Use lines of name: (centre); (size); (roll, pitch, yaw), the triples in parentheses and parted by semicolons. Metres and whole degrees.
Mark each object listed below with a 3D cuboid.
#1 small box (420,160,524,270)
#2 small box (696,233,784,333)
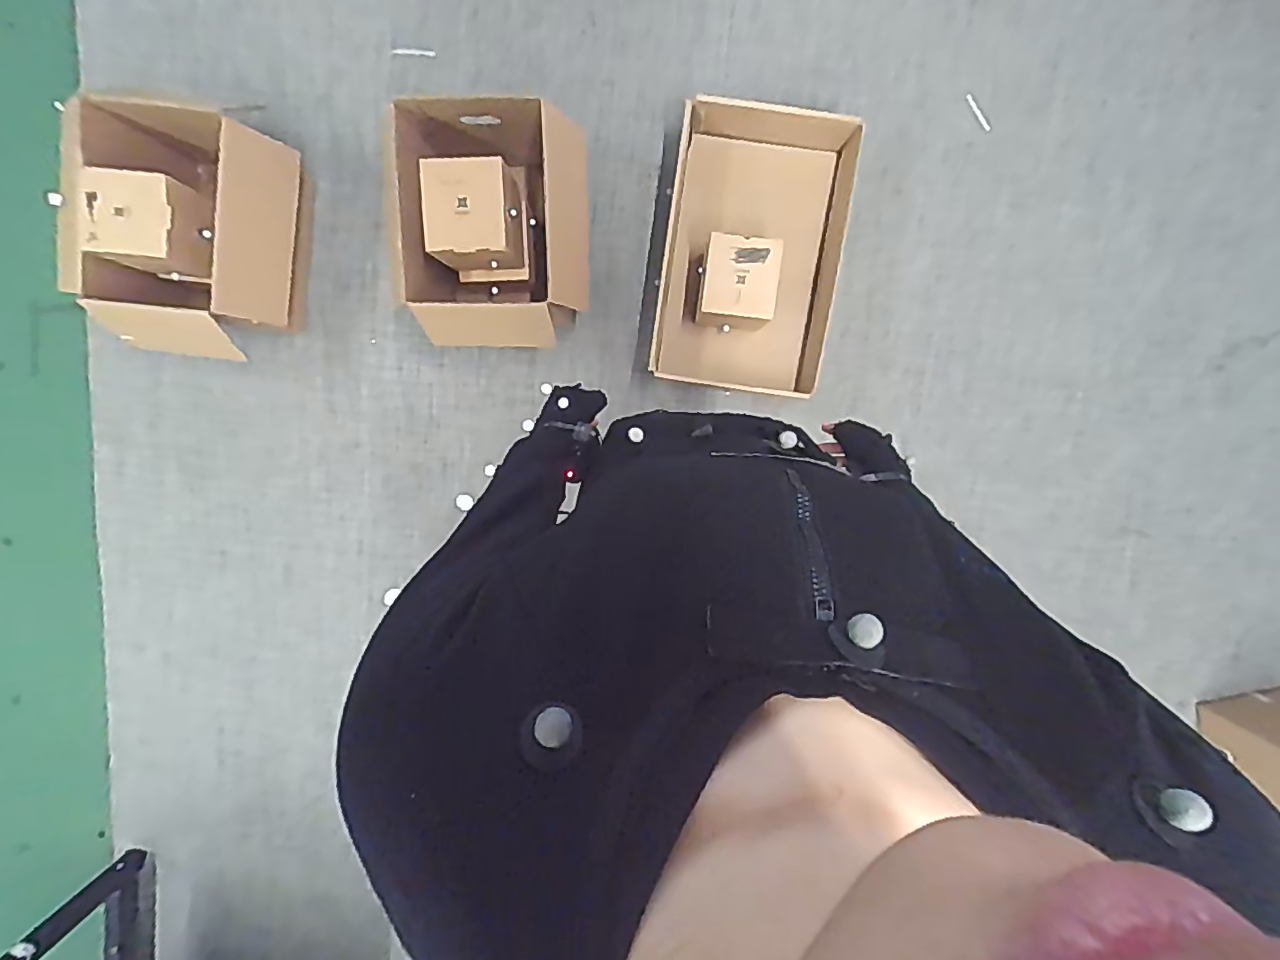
small box: (-0.348, -0.552, 1.147); (0.168, 0.176, 0.179); (-1, 98, 1)
small box: (0.227, -0.457, 1.276); (0.168, 0.176, 0.179); (7, 96, 0)
